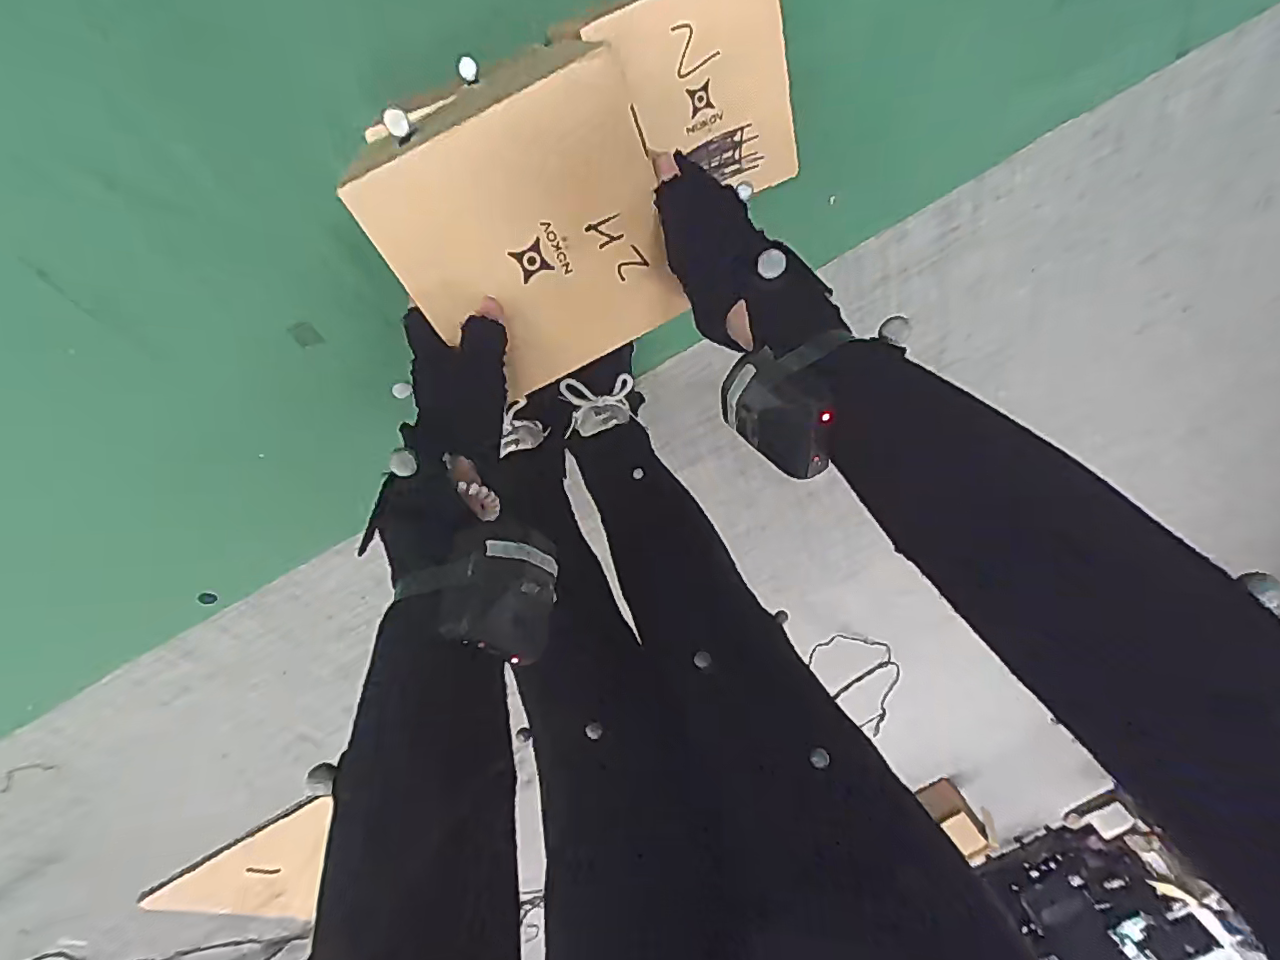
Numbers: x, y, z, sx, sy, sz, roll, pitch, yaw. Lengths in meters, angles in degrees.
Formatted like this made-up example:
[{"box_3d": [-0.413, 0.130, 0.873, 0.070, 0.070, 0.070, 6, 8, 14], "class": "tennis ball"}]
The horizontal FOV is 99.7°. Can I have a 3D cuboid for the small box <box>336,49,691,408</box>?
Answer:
[{"box_3d": [-0.088, -0.191, 0.413, 0.179, 0.176, 0.168, -28, 131, 1], "class": "small box"}]
